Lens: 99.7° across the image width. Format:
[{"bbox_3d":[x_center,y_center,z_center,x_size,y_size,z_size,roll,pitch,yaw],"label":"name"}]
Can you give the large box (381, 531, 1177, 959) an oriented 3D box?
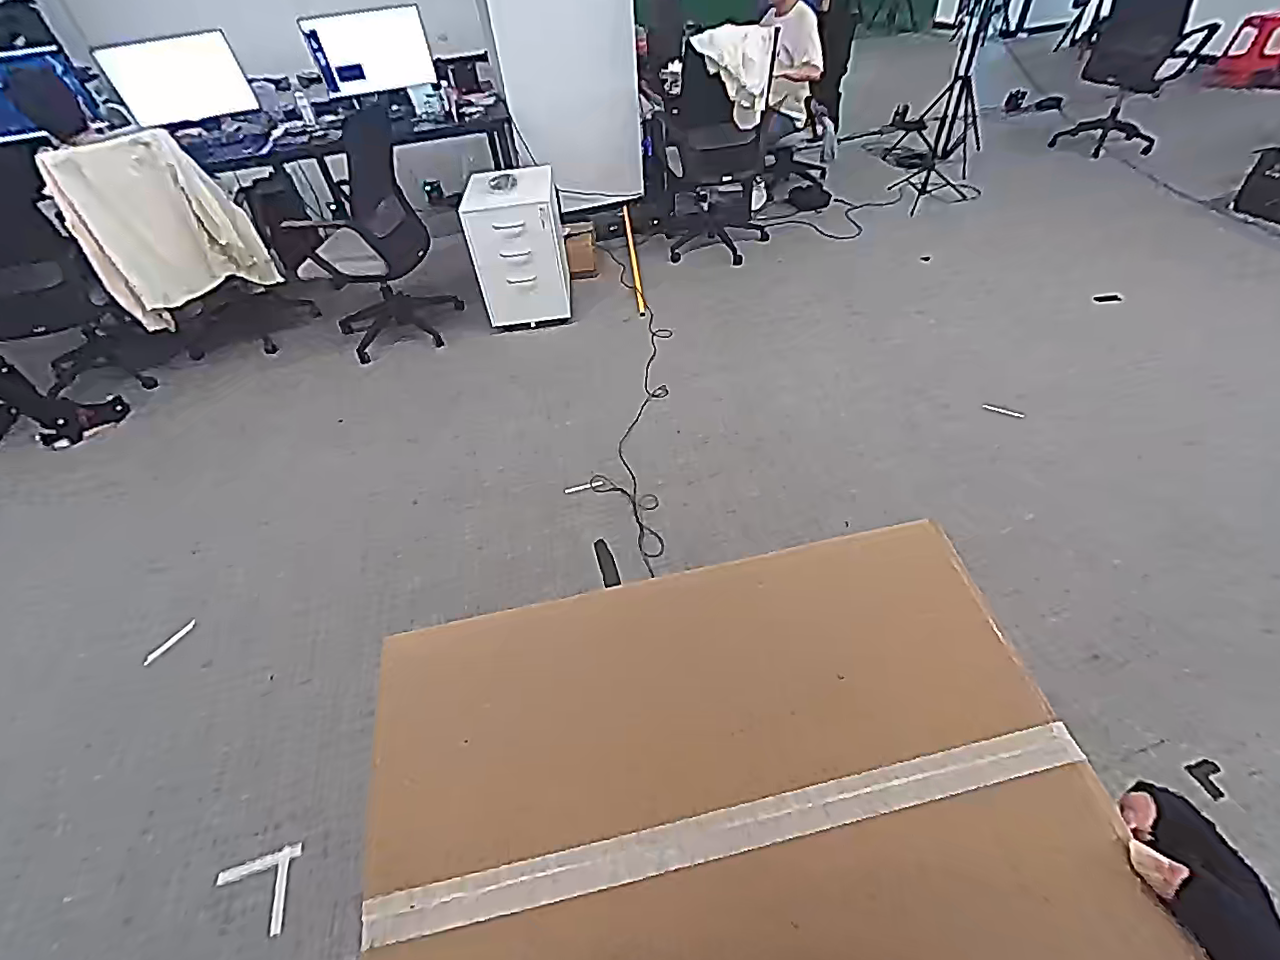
[{"bbox_3d":[0.063,0.285,0.432,0.408,0.320,0.320,-12,54,-4],"label":"large box"}]
